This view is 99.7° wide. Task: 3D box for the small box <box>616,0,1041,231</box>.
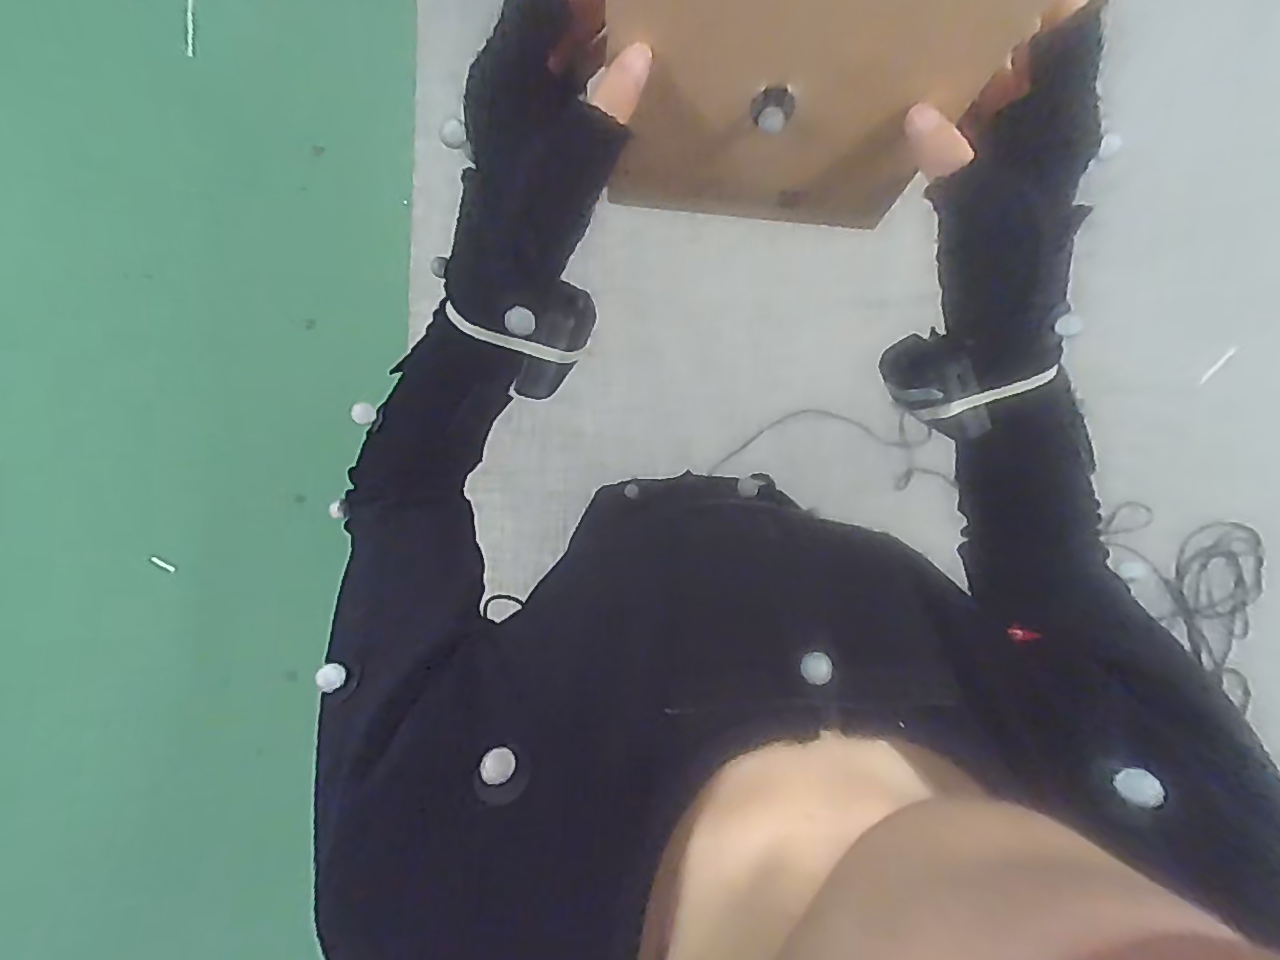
[{"bbox_3d":[0.077,-0.251,0.263,0.168,0.176,0.179,5,79,-3],"label":"small box"}]
